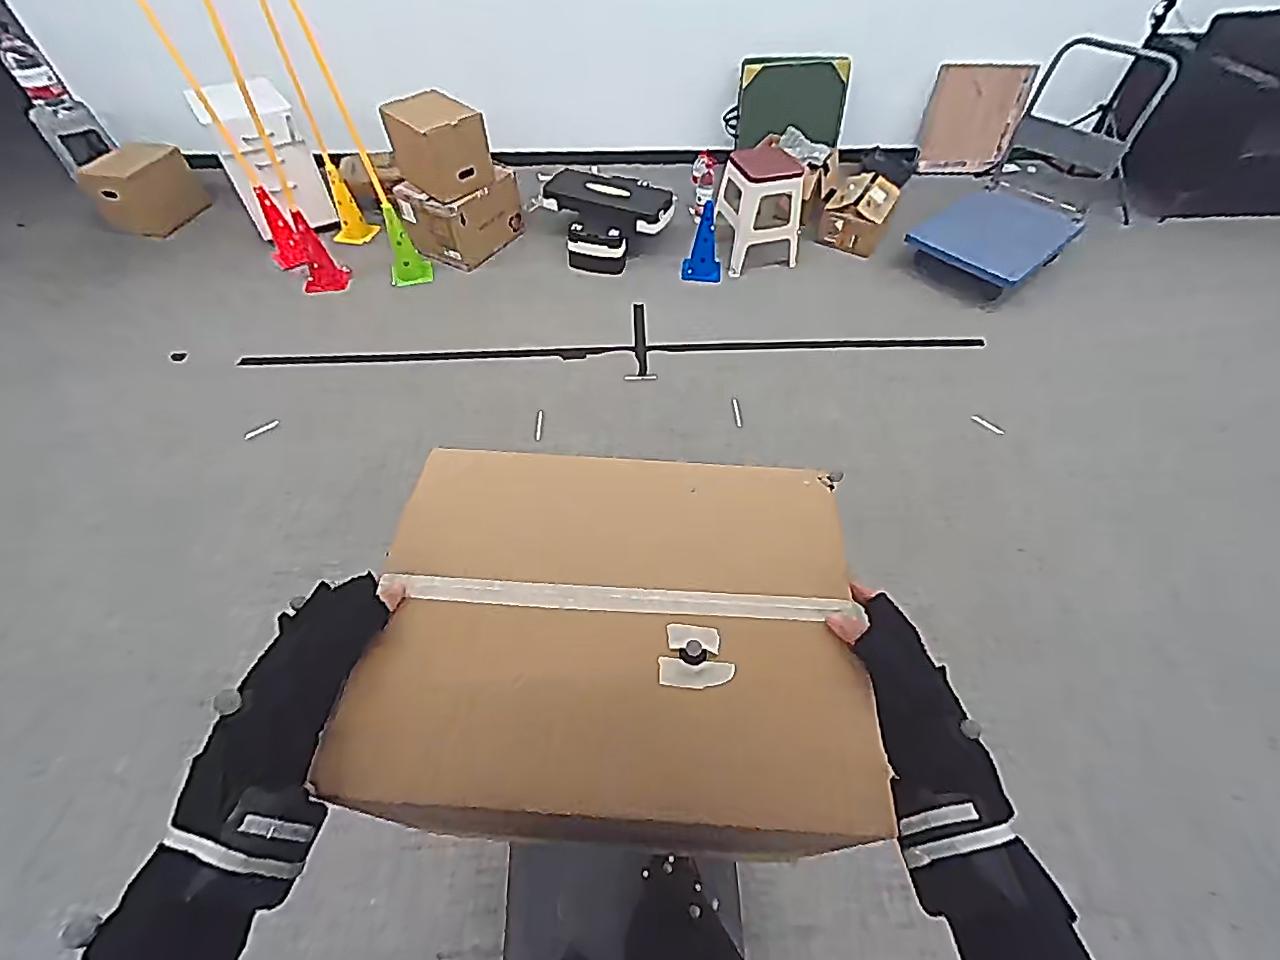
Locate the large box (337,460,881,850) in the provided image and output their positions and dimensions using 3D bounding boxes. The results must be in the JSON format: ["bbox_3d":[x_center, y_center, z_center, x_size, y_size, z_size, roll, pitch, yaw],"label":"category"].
[{"bbox_3d":[-0.021,0.200,0.595,0.408,0.320,0.320,4,53,1],"label":"large box"}]
